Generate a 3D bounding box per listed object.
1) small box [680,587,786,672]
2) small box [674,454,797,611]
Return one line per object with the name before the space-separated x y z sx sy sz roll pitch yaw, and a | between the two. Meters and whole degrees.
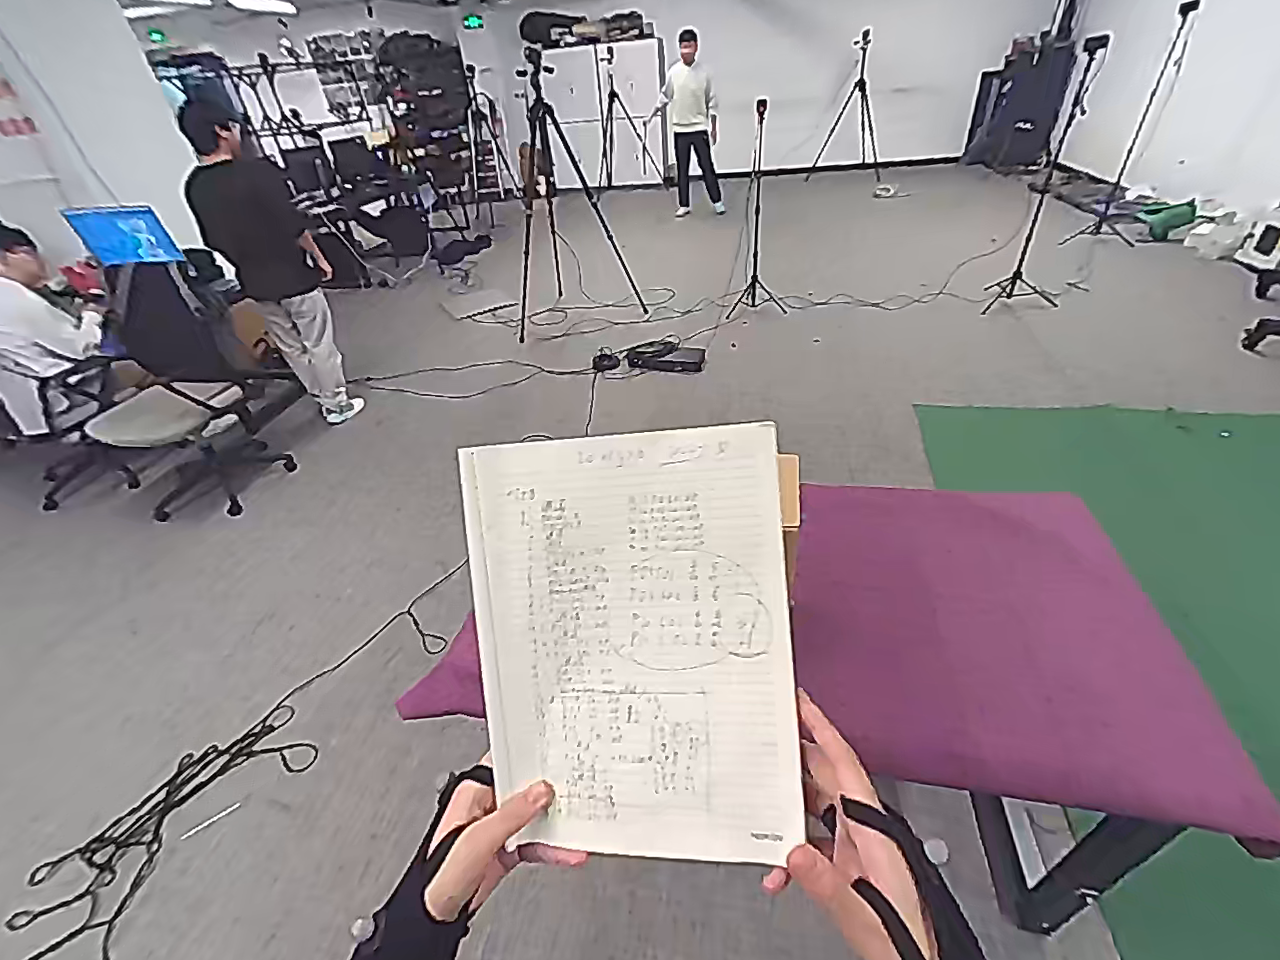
small box | 0.167 0.207 0.938 0.168 0.176 0.179 4 39 13
small box | 0.152 0.078 0.834 0.168 0.176 0.179 4 37 13
